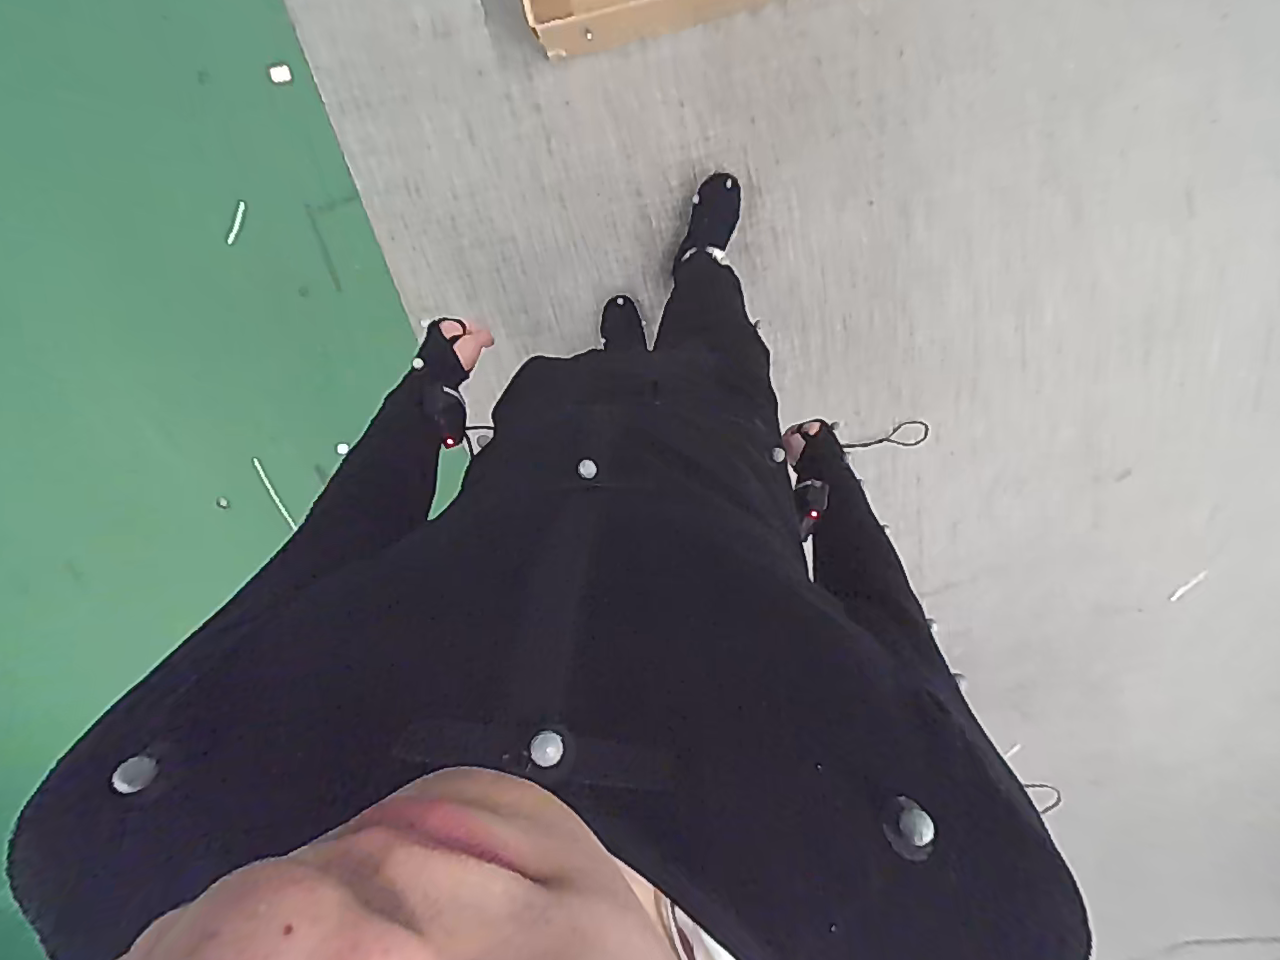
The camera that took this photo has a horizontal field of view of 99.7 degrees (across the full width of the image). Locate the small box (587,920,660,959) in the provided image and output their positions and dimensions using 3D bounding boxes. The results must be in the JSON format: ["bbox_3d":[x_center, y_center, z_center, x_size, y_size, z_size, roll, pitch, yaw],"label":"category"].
[{"bbox_3d":[-0.039,1.290,1.406,0.168,0.176,0.179,-12,117,5],"label":"small box"}]
